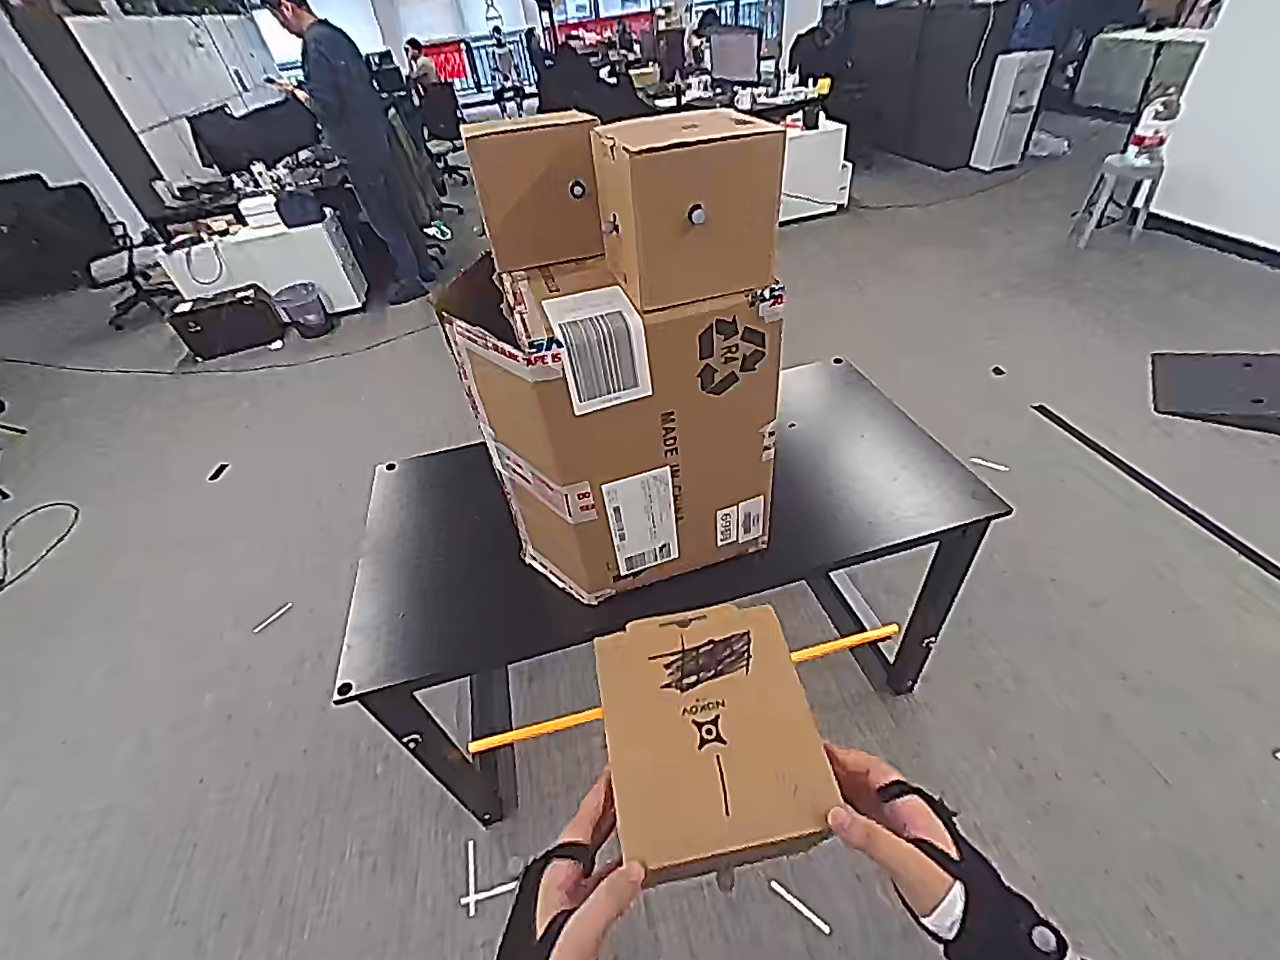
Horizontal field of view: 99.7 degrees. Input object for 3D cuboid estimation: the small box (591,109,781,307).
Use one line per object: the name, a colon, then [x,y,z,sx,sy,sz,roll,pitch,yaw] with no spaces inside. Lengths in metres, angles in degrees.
small box: [0.053,-0.331,0.663,0.179,0.176,0.168,-16,45,-9]

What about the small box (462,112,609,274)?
small box: [-0.147,-0.421,0.791,0.179,0.176,0.168,-16,39,-9]

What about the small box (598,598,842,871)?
small box: [0.058,0.238,0.503,0.168,0.176,0.179,-10,51,-4]
